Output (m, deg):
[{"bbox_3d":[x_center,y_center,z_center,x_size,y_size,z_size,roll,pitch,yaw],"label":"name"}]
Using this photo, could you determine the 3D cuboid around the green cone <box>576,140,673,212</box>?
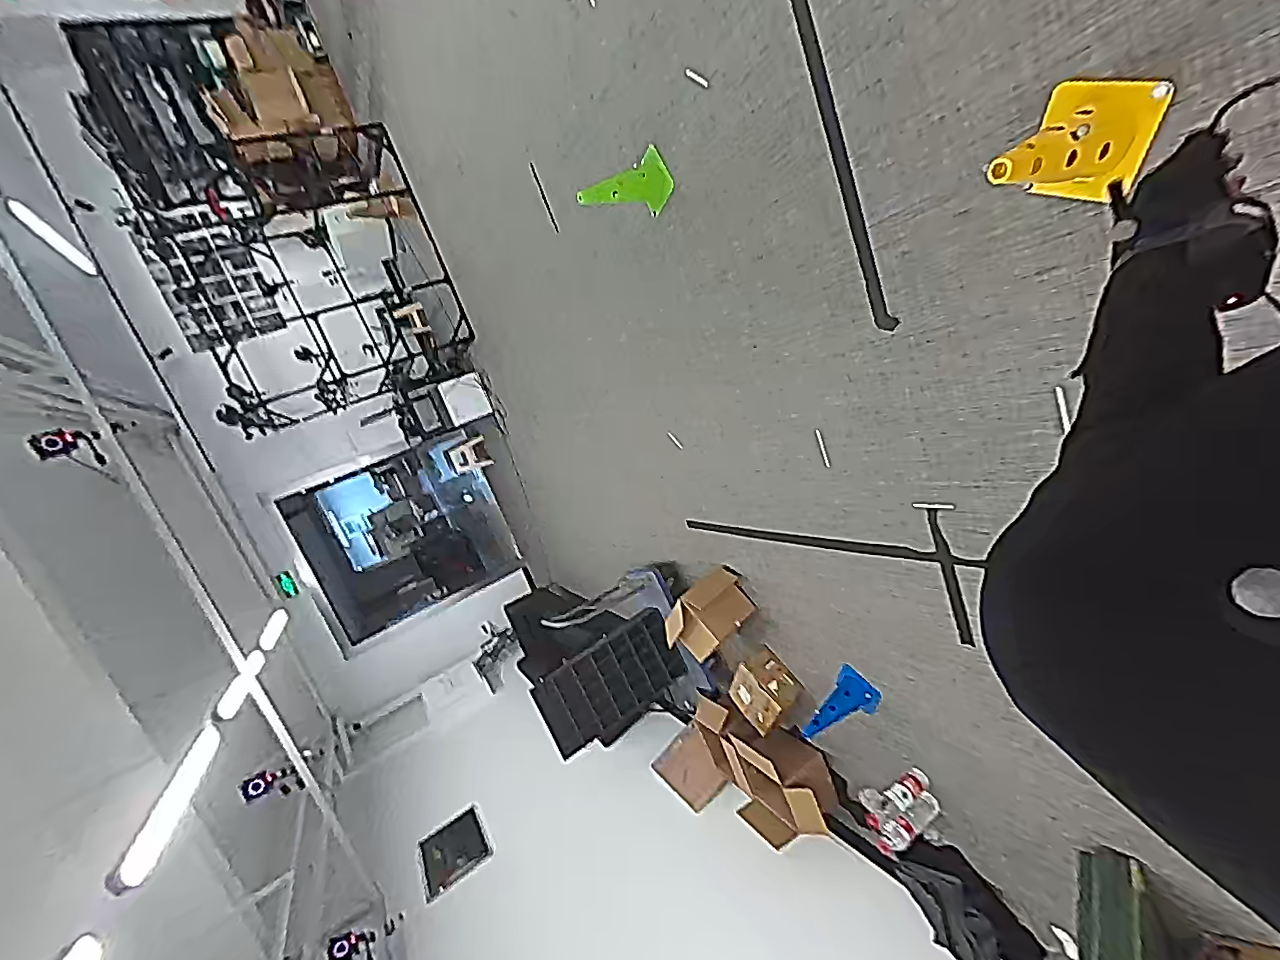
[{"bbox_3d":[-0.083,-1.162,2.122,0.202,0.368,0.200,63,155,4],"label":"green cone"}]
